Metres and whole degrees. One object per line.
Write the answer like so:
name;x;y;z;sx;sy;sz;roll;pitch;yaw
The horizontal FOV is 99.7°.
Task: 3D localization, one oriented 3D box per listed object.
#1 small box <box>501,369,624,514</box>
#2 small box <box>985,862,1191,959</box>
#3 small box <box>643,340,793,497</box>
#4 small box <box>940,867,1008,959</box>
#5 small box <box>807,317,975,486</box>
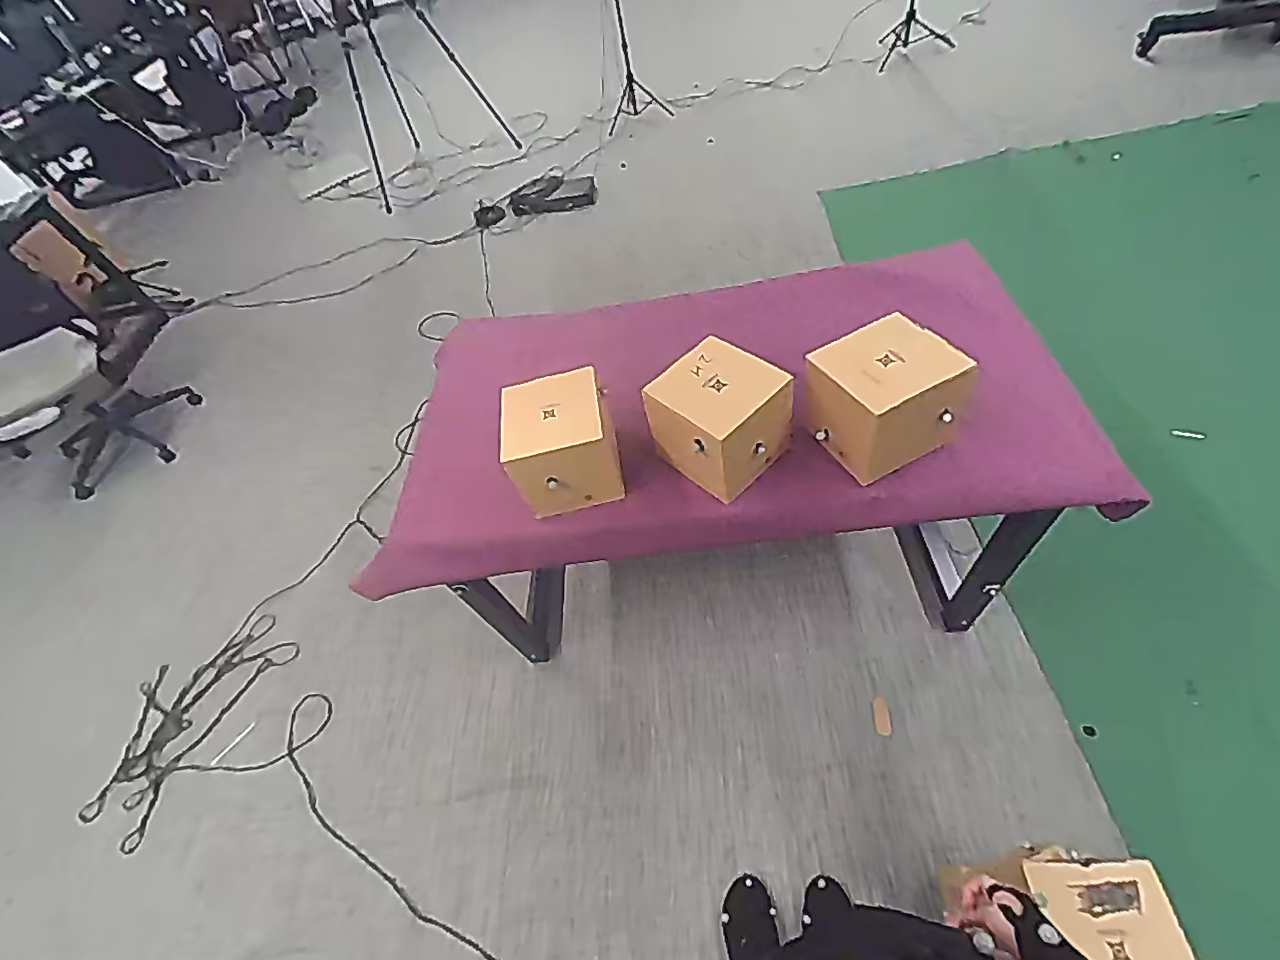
small box;-0.131;-0.057;0.940;0.168;0.176;0.179;-13;50;3
small box;0.618;0.642;0.753;0.168;0.176;0.179;-6;54;8
small box;0.133;-0.096;0.905;0.168;0.176;0.179;-40;55;-18
small box;0.678;0.841;1.009;0.179;0.176;0.168;1;55;14
small box;0.386;-0.123;0.870;0.179;0.176;0.168;-26;50;-6
